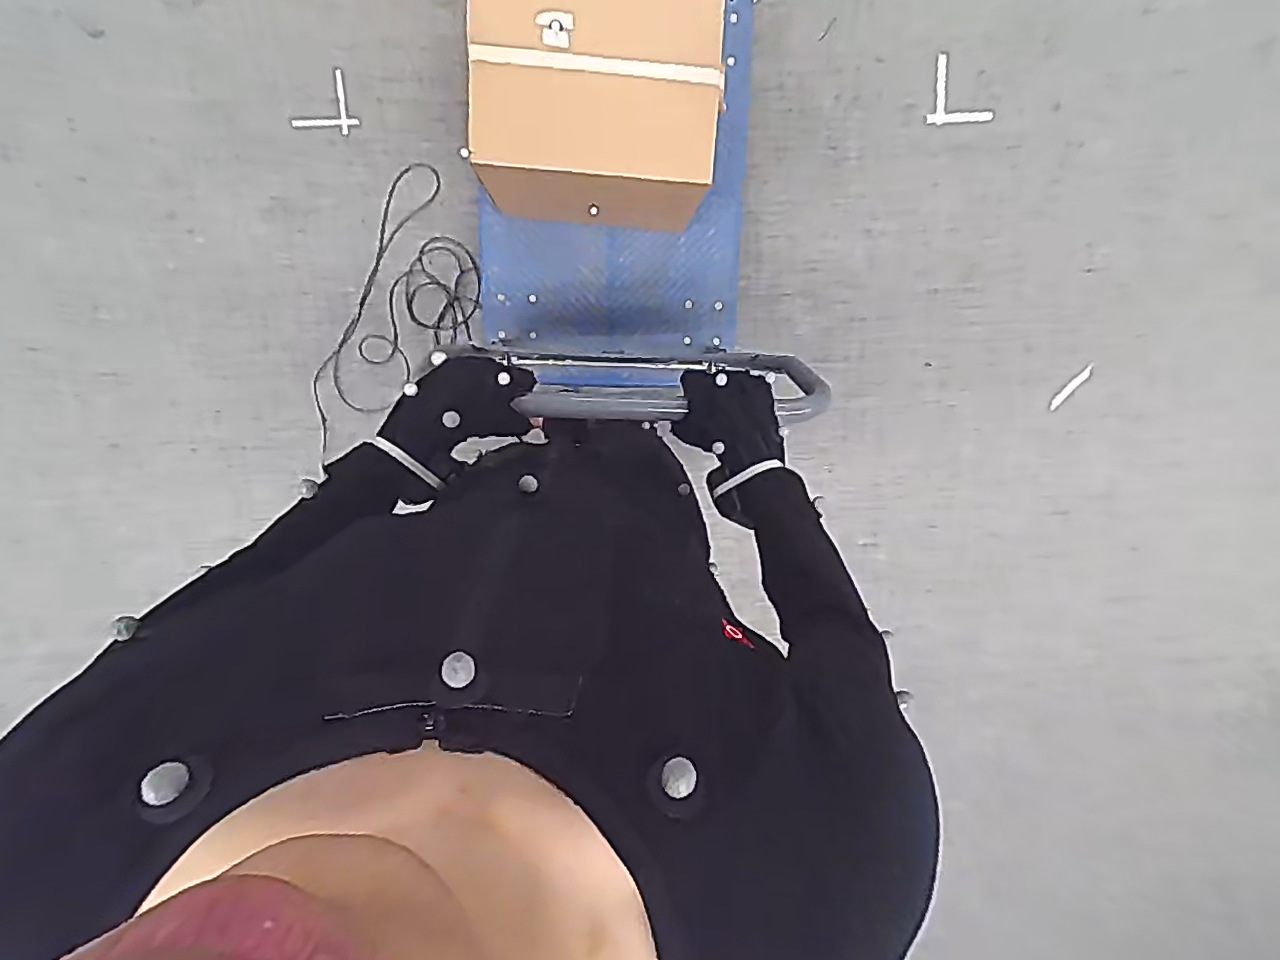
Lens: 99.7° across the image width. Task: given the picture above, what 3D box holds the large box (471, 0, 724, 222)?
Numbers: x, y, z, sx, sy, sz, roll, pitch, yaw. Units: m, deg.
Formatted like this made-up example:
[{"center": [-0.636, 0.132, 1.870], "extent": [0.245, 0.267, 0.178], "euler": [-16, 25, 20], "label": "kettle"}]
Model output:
[{"center": [-0.077, -0.694, 1.013], "extent": [0.408, 0.320, 0.320], "euler": [3, 101, -4], "label": "large box"}]
